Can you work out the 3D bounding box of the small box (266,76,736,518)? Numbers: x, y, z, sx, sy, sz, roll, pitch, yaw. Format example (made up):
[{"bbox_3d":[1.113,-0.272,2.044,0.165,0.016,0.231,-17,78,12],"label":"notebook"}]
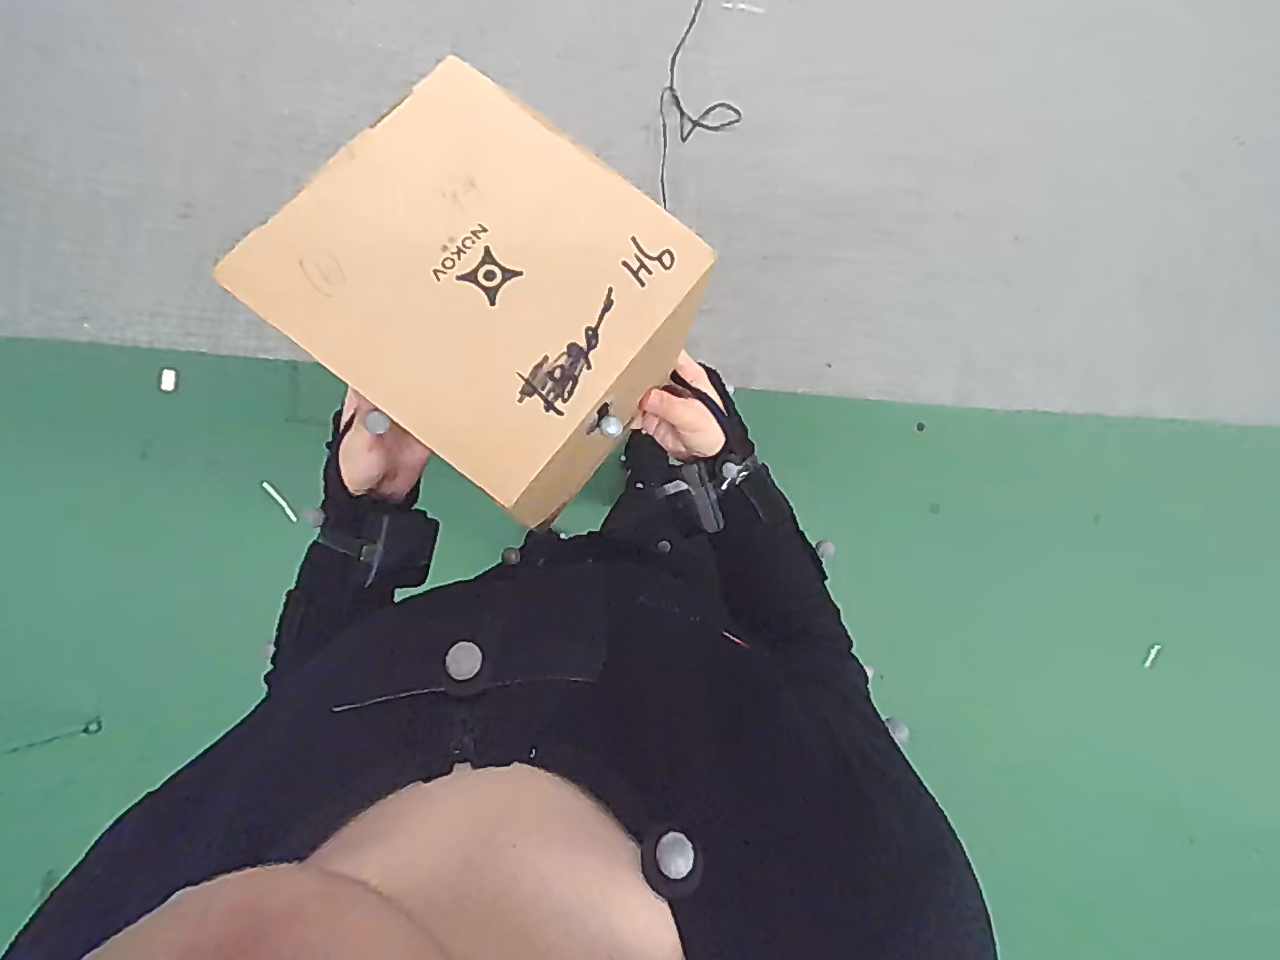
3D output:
[{"bbox_3d":[-0.072,-0.089,0.348,0.179,0.176,0.168,37,80,2],"label":"small box"}]
